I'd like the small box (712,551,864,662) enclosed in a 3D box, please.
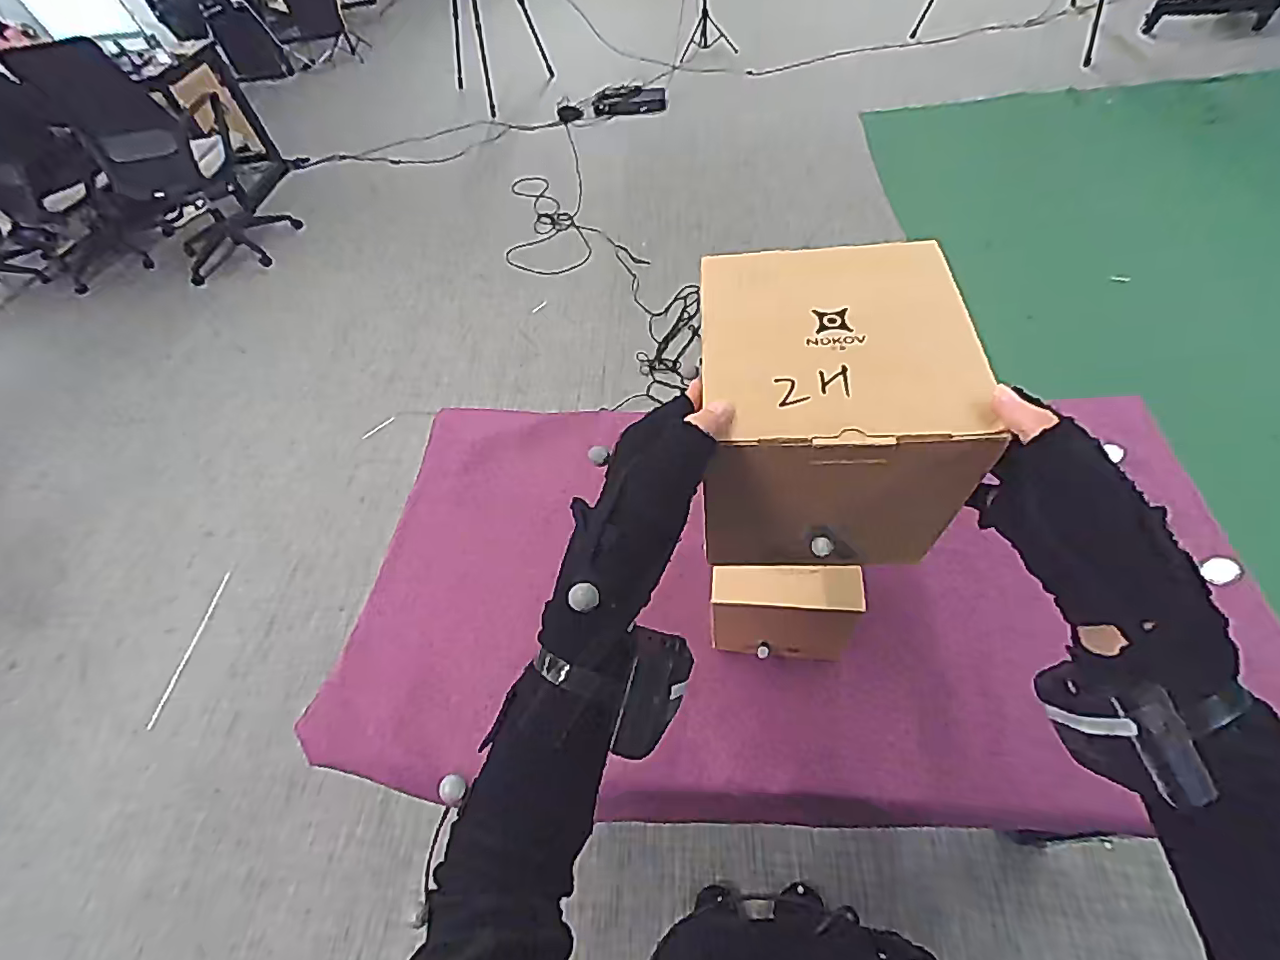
[{"bbox_3d":[0.183,0.117,0.705,0.168,0.176,0.179,2,54,11],"label":"small box"}]

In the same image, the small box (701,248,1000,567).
[{"bbox_3d":[0.131,-0.049,0.416,0.168,0.176,0.179,-1,57,8],"label":"small box"}]
